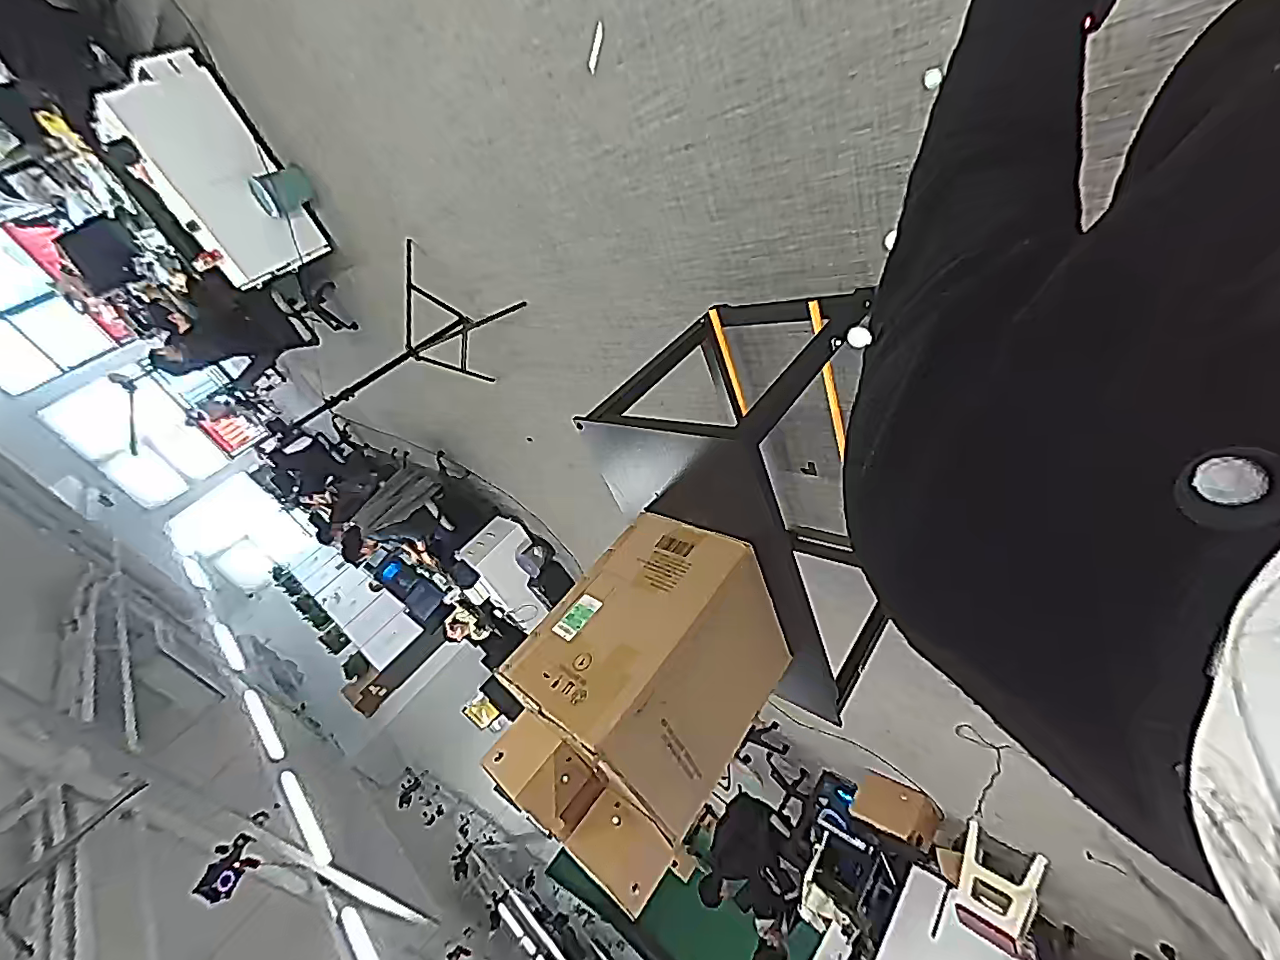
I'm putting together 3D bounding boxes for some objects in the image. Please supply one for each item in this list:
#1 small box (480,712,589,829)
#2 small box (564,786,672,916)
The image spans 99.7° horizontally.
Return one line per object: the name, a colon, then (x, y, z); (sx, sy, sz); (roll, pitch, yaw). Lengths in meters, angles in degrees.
small box: (-0.261, 0.720, 1.363); (0.179, 0.176, 0.168); (13, 140, 47)
small box: (-0.047, 0.905, 1.330); (0.168, 0.176, 0.179); (9, 133, 45)
